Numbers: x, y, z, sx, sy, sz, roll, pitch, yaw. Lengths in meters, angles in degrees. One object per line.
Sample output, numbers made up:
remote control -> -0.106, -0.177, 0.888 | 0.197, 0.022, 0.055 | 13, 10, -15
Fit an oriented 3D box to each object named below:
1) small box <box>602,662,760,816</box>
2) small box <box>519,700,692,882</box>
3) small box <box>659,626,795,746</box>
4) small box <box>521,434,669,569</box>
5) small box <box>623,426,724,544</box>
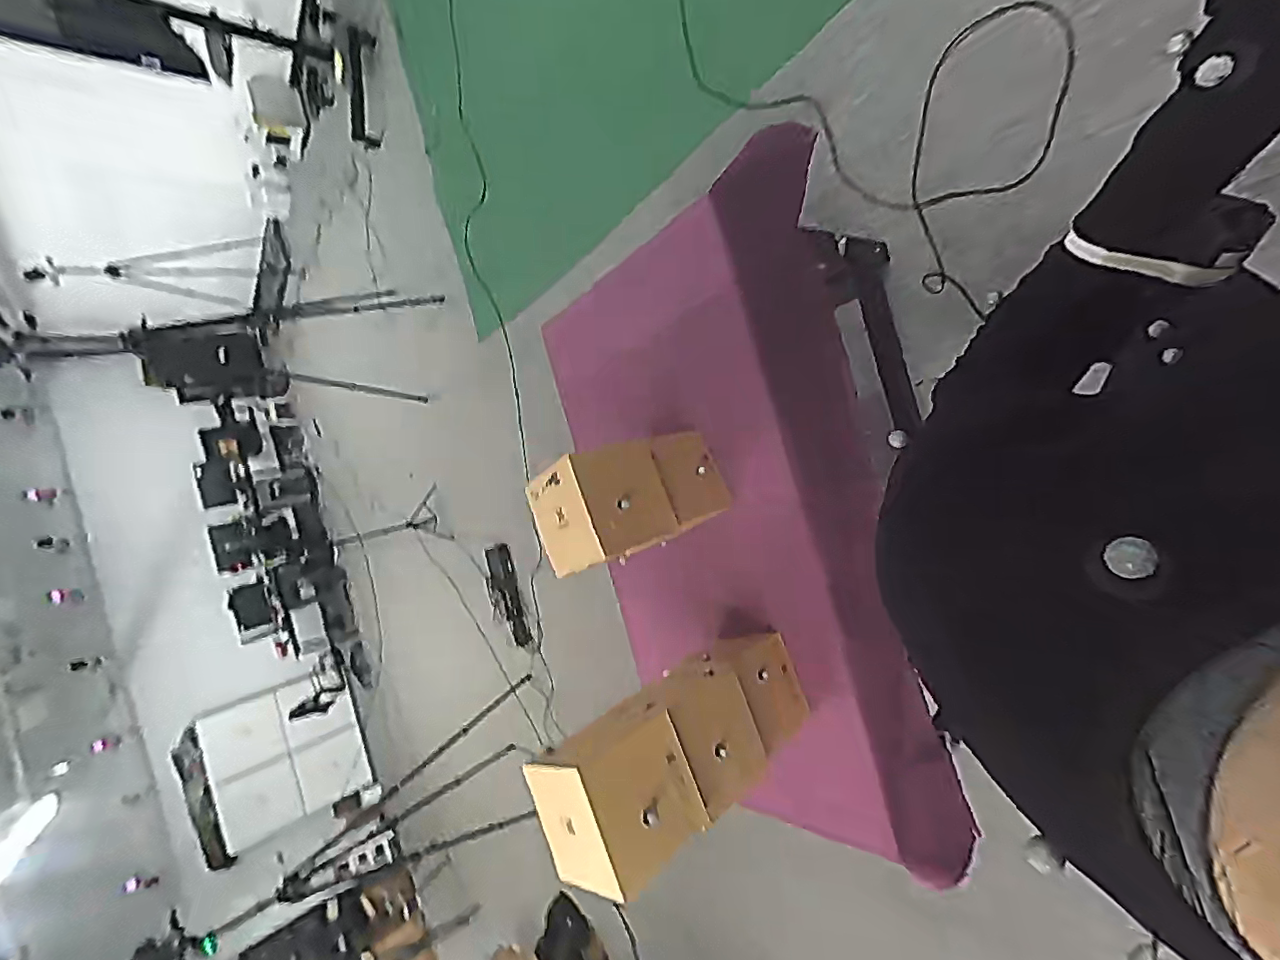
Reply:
small box -> 0.069, 0.419, 0.909 | 0.168, 0.176, 0.179 | -27, 81, 48
small box -> -0.046, 0.439, 0.795 | 0.179, 0.176, 0.168 | -33, 76, 48
small box -> 0.172, 0.389, 1.035 | 0.179, 0.176, 0.168 | -27, 81, 49
small box -> -0.076, 0.036, 0.947 | 0.168, 0.176, 0.179 | -28, 81, 48
small box -> 0.033, 0.010, 1.069 | 0.179, 0.176, 0.168 | -35, 76, 48
